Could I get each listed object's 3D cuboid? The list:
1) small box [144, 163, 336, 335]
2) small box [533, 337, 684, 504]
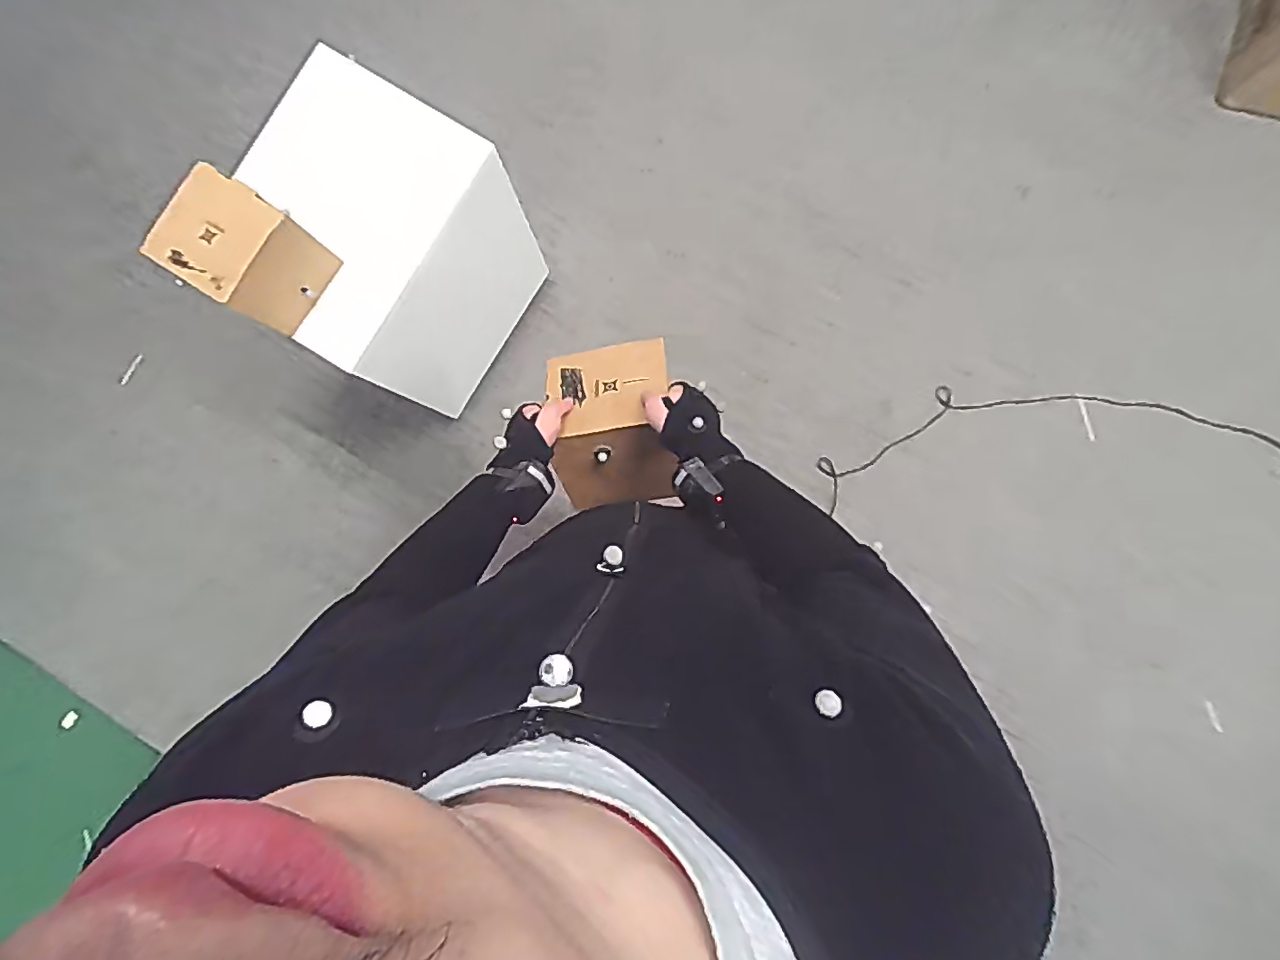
[{"bbox_3d":[-0.662,-0.381,0.925,0.168,0.176,0.179,33,87,3],"label":"small box"},{"bbox_3d":[-0.038,-0.079,0.793,0.179,0.176,0.168,-8,52,8],"label":"small box"}]
